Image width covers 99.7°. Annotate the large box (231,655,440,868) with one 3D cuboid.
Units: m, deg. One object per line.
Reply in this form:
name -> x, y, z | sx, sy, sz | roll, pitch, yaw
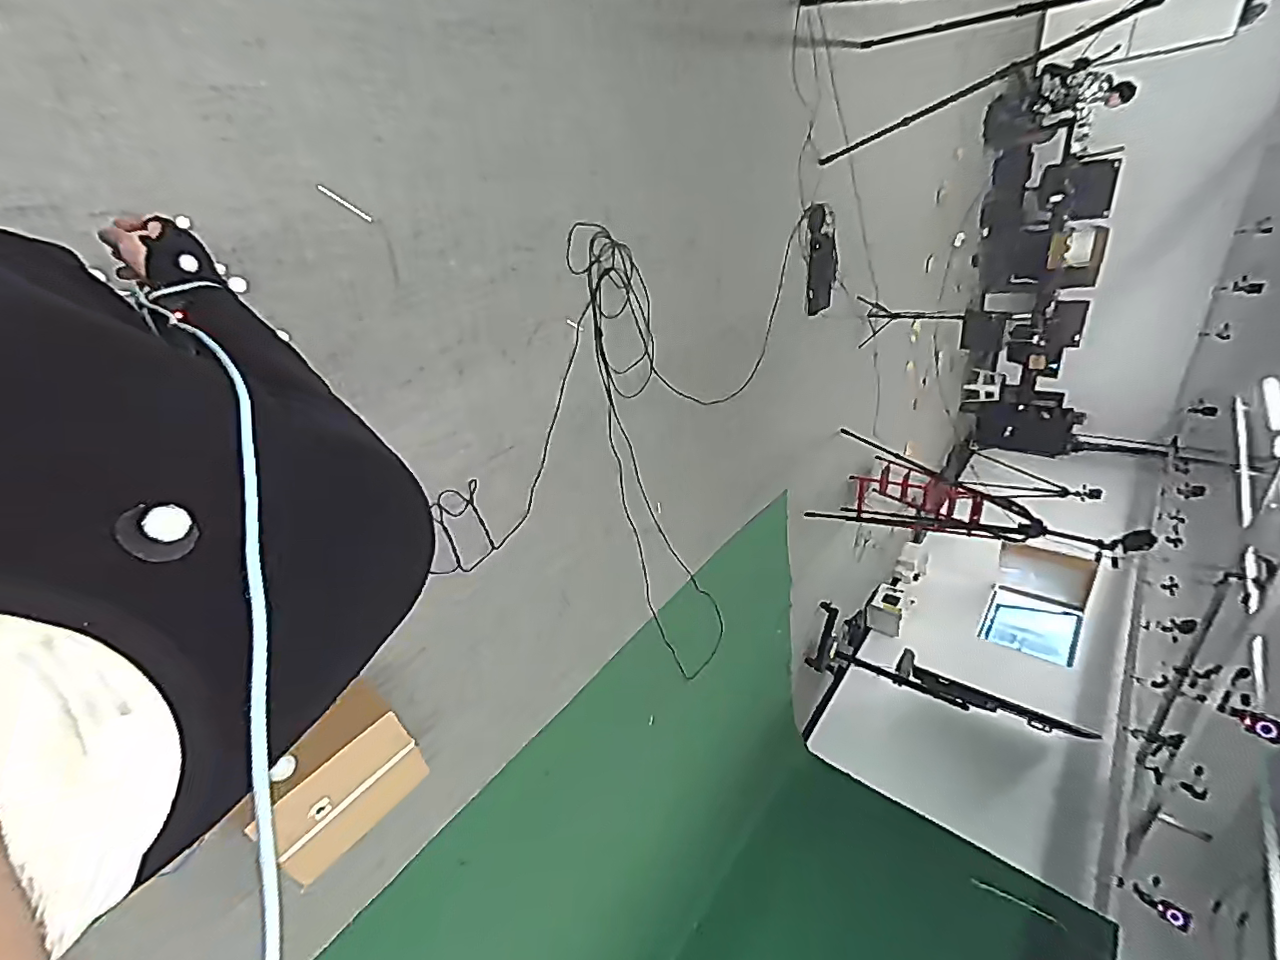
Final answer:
large box -> -0.902, 0.819, 1.629 | 0.408, 0.320, 0.320 | -38, 128, -35
